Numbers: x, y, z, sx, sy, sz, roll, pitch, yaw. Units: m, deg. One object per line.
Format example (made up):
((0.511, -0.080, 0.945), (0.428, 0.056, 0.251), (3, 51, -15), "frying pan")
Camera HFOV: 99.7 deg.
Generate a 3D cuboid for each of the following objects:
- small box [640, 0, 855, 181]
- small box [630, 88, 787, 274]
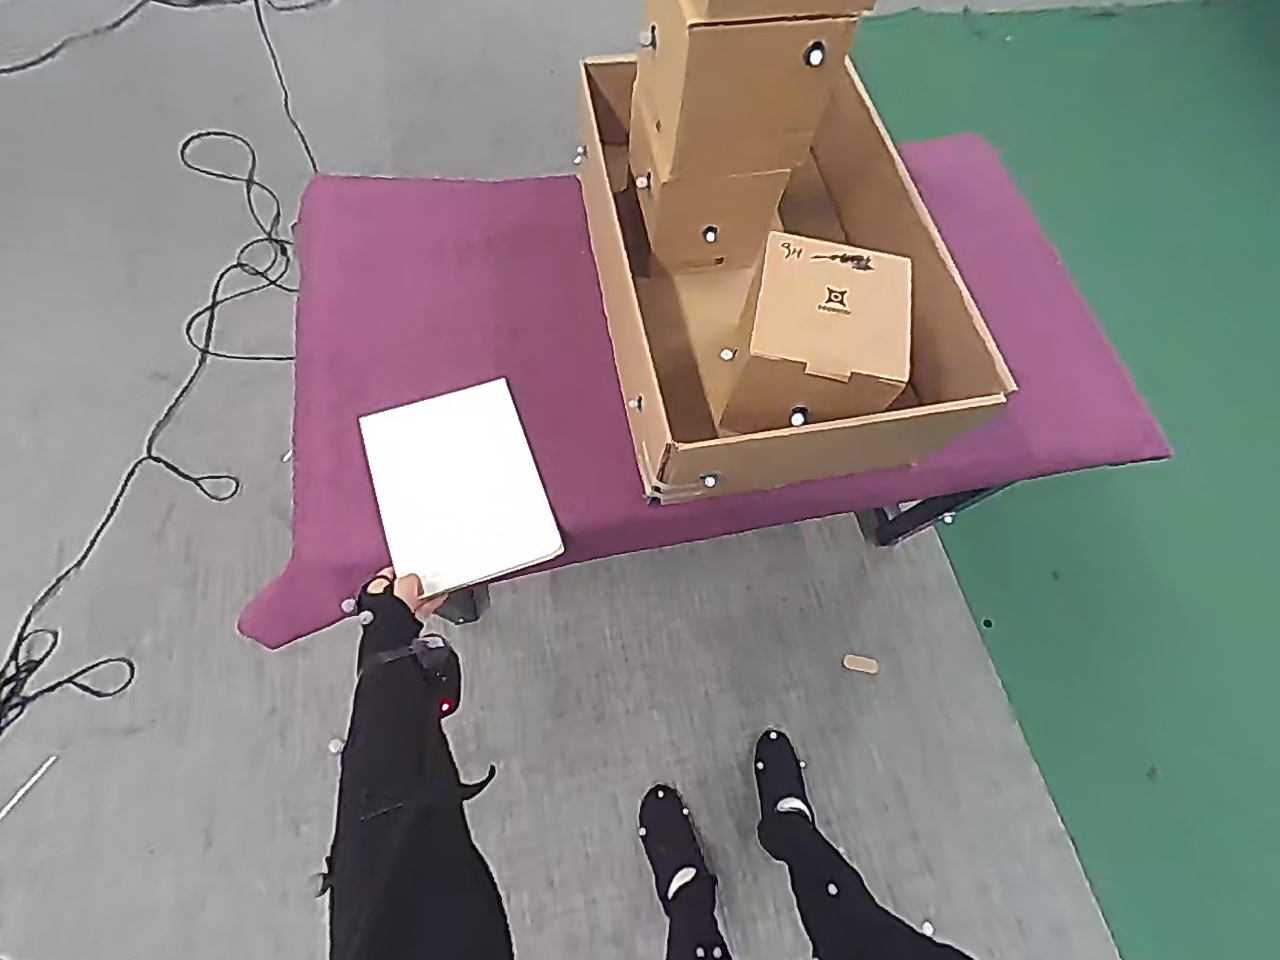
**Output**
((0.099, -0.464, 0.602), (0.179, 0.176, 0.168), (-11, 71, -9), "small box")
((0.082, -0.408, 0.753), (0.168, 0.176, 0.179), (-9, 71, -8), "small box")
